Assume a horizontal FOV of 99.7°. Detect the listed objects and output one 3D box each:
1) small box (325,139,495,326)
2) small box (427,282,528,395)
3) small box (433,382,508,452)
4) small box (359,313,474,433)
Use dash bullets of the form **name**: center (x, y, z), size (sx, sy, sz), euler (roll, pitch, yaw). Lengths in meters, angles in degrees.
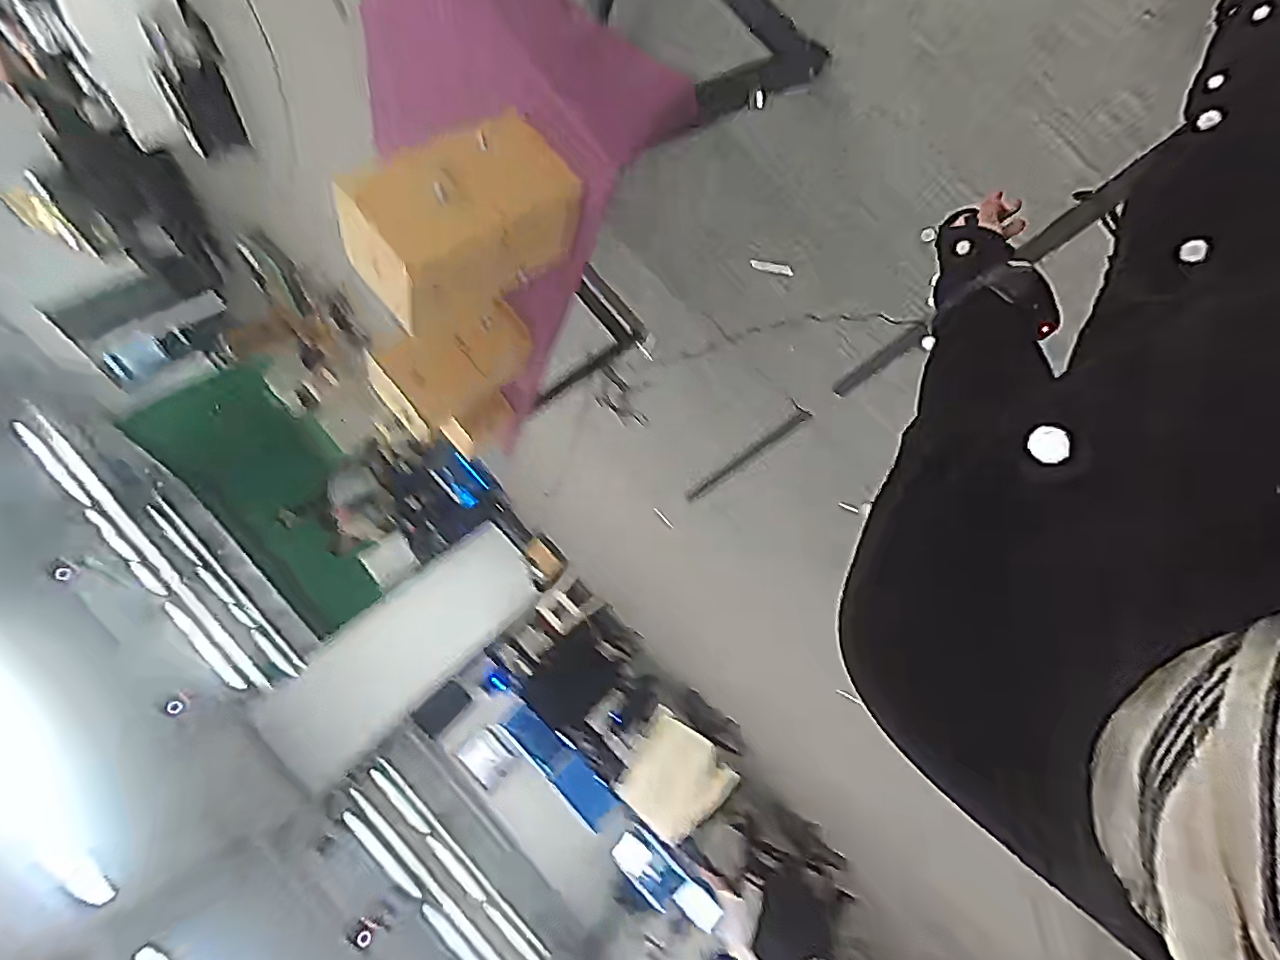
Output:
- **small box**: center (-0.346, -0.378, 0.837), size (0.168, 0.176, 0.179), euler (50, 153, -2)
- **small box**: center (-0.393, -0.342, 1.304), size (0.168, 0.176, 0.179), euler (49, 152, -1)
- **small box**: center (-0.525, -0.221, 1.641), size (0.179, 0.176, 0.168), euler (50, 151, 0)
- **small box**: center (-0.498, -0.242, 1.223), size (0.179, 0.176, 0.168), euler (50, 152, -1)
